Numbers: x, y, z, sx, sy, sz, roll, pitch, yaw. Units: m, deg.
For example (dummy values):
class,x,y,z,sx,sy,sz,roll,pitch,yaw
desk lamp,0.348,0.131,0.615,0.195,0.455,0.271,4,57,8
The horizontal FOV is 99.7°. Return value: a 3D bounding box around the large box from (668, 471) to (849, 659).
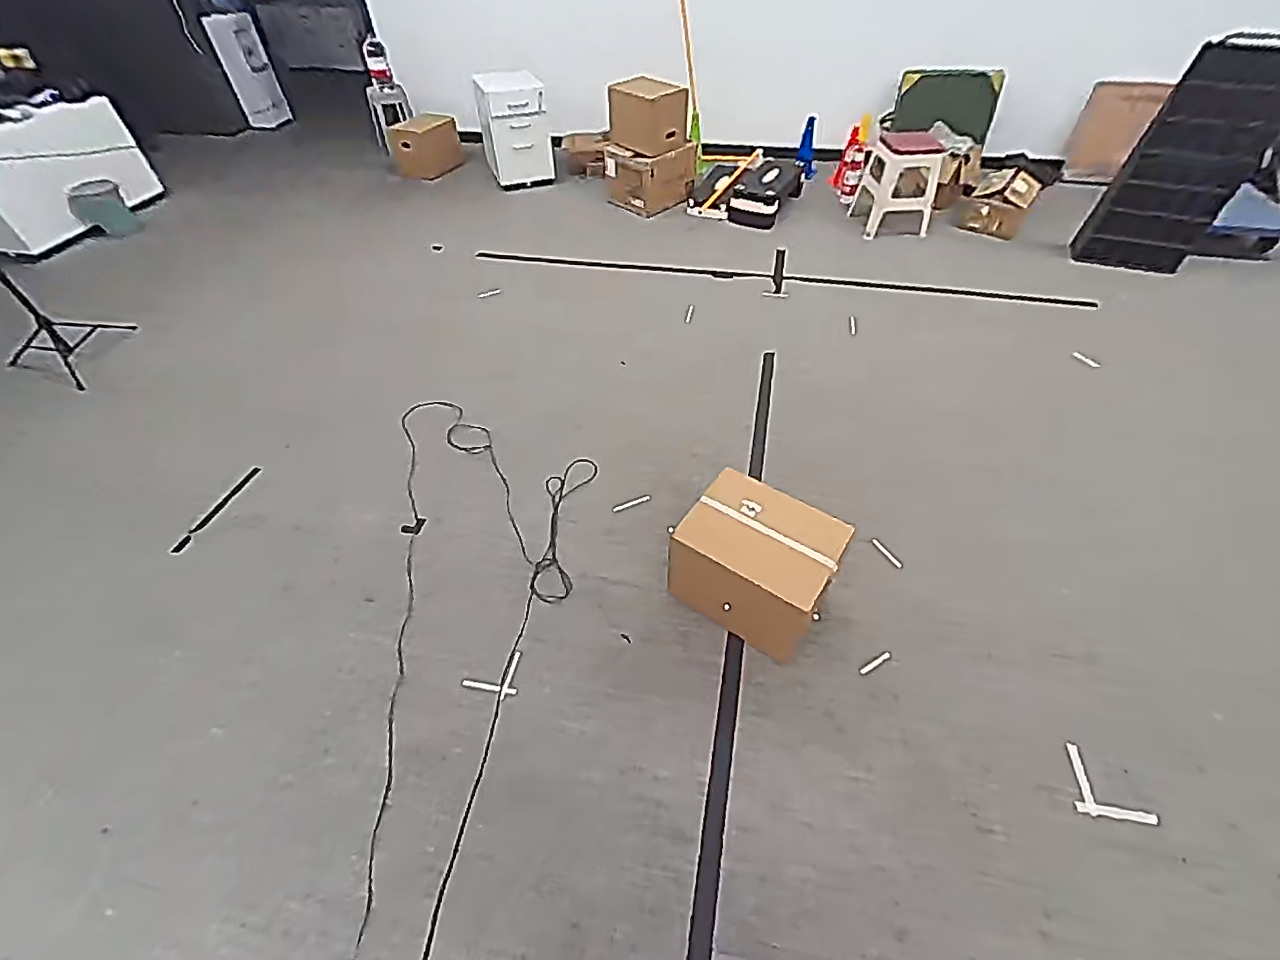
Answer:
class,x,y,z,sx,sy,sz,roll,pitch,yaw
large box,0.330,0.244,1.578,0.408,0.320,0.320,27,54,24
